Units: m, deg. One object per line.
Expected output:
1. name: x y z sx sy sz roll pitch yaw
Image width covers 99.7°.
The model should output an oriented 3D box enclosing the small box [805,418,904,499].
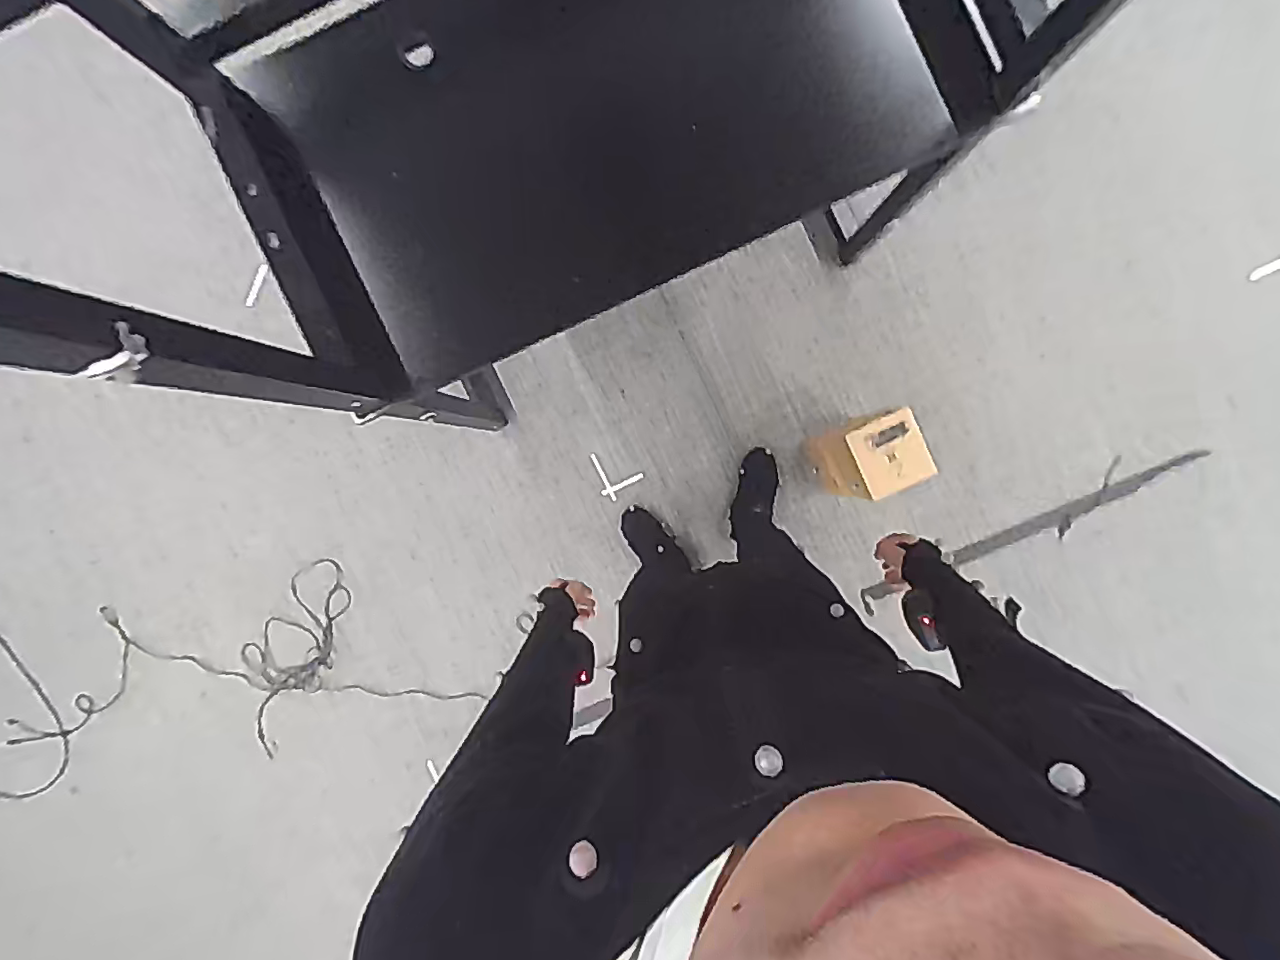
1. small box: 0.590 -0.061 1.509 0.179 0.176 0.168 -26 91 3
